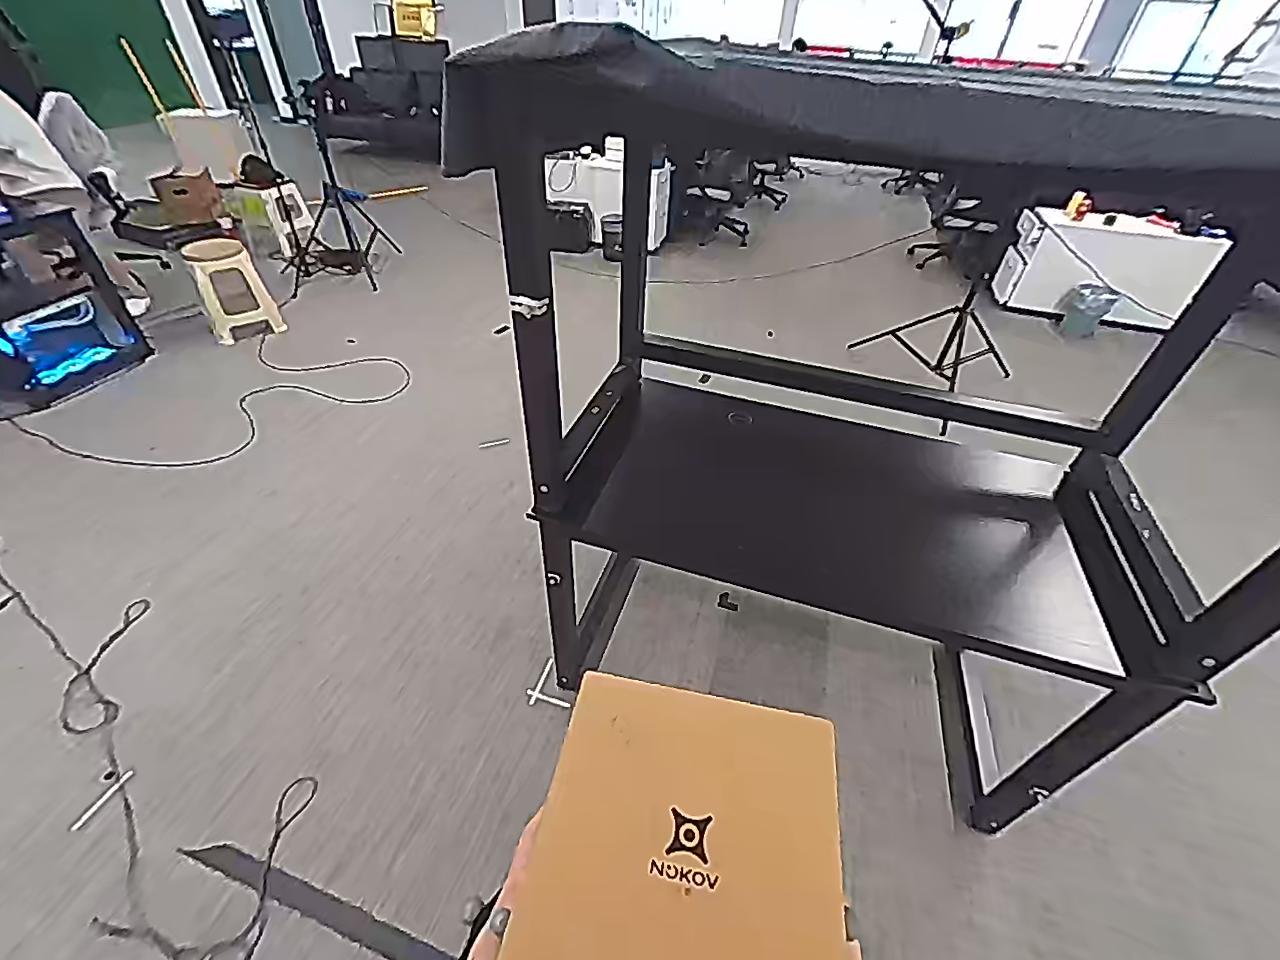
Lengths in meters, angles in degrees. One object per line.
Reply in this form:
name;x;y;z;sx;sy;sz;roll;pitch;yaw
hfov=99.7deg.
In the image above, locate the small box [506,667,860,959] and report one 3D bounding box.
small box;0.028;0.253;0.342;0.168;0.176;0.179;8;42;7
